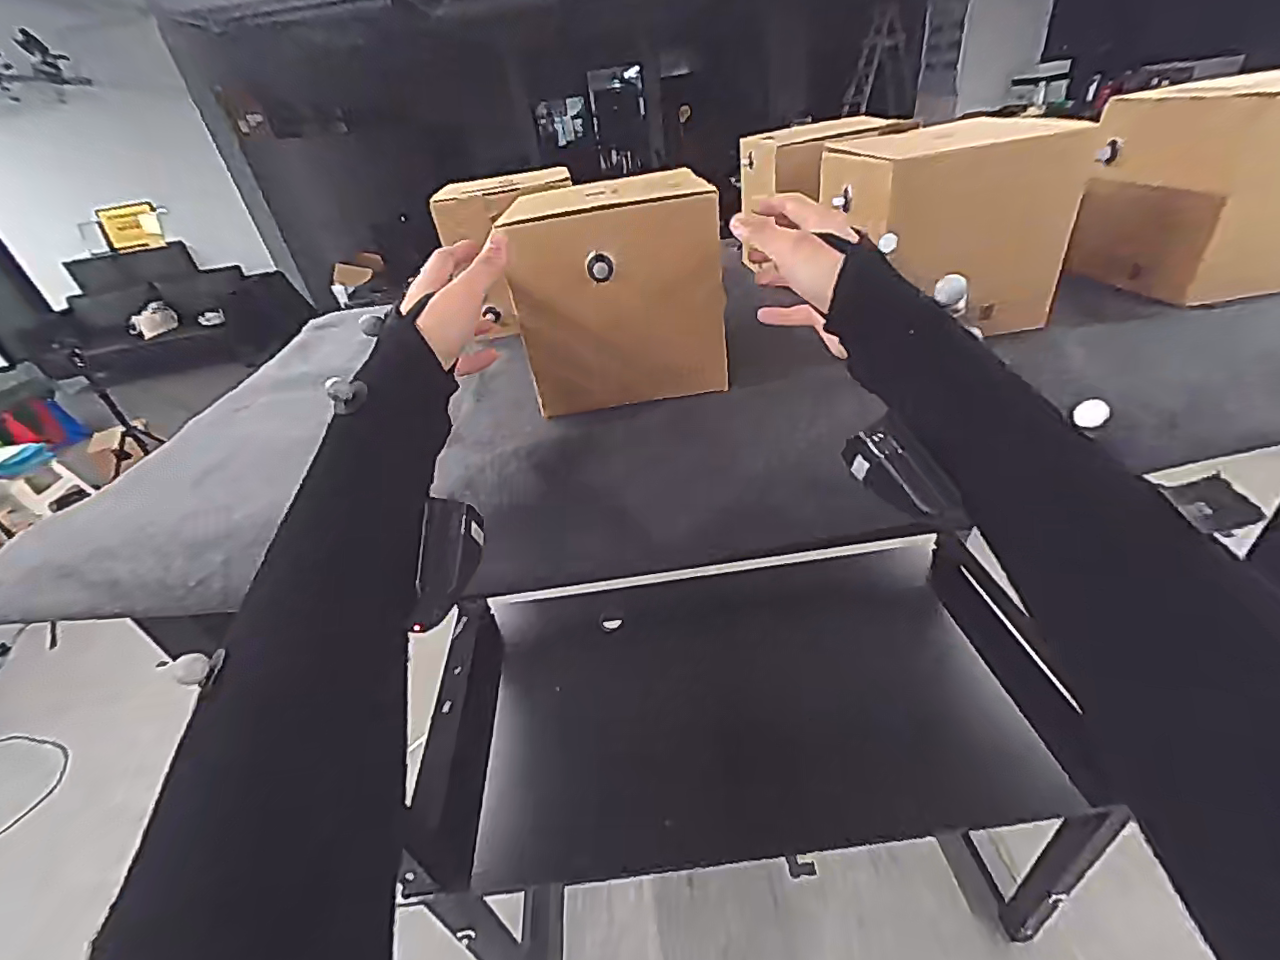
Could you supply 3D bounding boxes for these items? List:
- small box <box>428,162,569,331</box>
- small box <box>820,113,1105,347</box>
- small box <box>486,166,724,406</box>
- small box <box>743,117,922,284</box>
[{"bbox_3d":[-0.160,-0.308,0.721,0.168,0.176,0.179,-11,35,-3],"label":"small box"},{"bbox_3d":[0.284,-0.245,0.531,0.168,0.176,0.179,-9,34,2],"label":"small box"},{"bbox_3d":[-0.023,-0.182,0.510,0.179,0.176,0.168,-8,35,2],"label":"small box"},{"bbox_3d":[0.241,-0.377,0.727,0.179,0.176,0.168,-8,34,0],"label":"small box"}]
